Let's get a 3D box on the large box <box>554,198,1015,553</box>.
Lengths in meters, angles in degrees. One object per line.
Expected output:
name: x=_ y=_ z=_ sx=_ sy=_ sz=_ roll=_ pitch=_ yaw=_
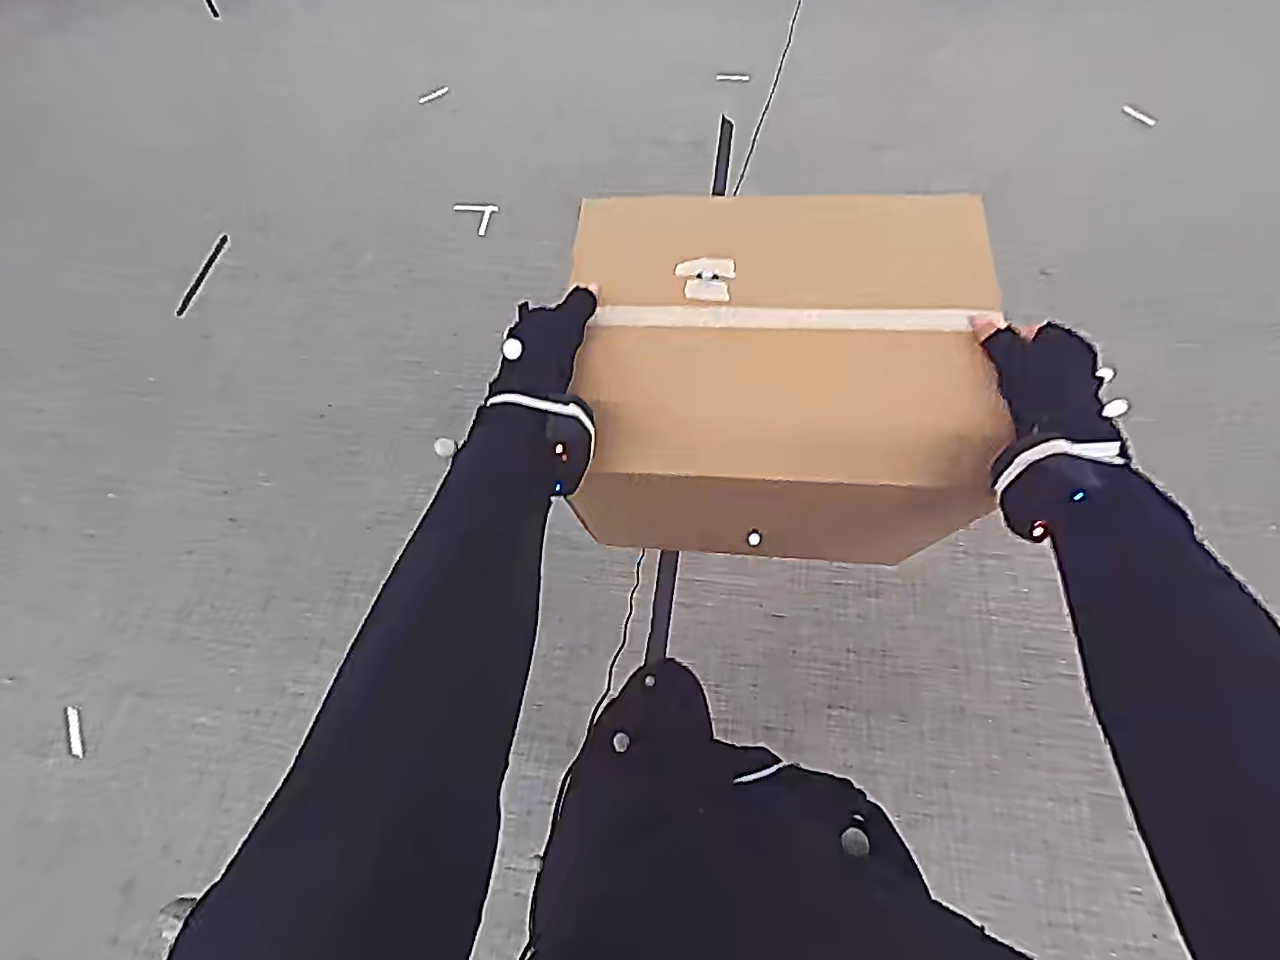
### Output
large box: x=0.146 y=-0.098 z=0.660 sx=0.408 sy=0.320 sz=0.320 roll=3 pitch=69 yaw=8
